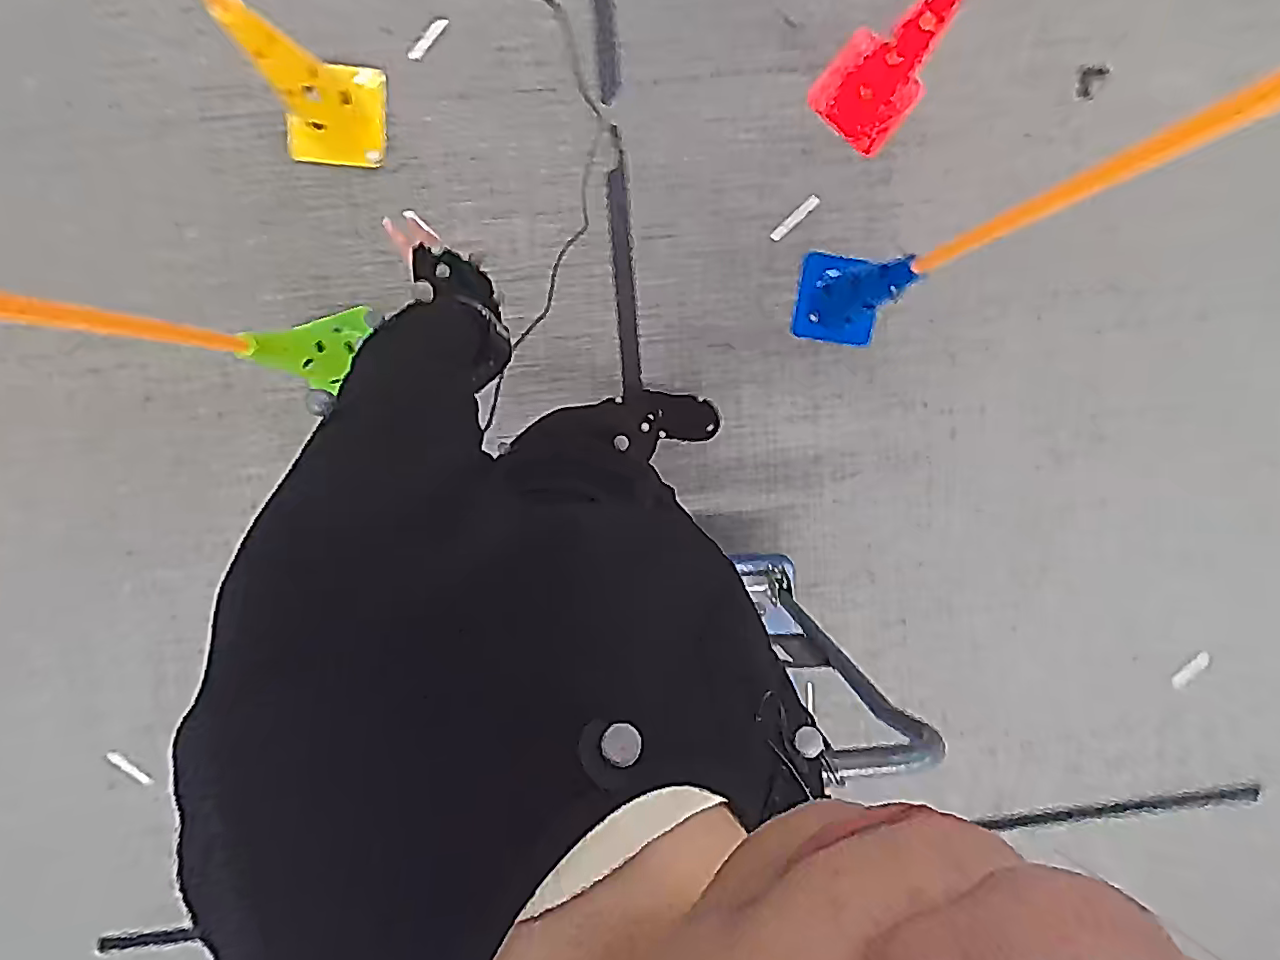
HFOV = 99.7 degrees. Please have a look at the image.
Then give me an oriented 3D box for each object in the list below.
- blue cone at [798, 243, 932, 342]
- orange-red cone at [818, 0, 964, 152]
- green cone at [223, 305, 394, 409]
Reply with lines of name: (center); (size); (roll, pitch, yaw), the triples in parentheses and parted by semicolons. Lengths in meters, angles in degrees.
blue cone: (0.487, -0.413, 1.131); (0.193, 0.380, 0.192); (10, 97, -4)
orange-red cone: (0.530, -0.847, 1.053); (0.198, 0.360, 0.199); (40, 96, -7)
green cone: (-0.684, -0.262, 1.085); (0.200, 0.368, 0.202); (-19, 98, 0)
